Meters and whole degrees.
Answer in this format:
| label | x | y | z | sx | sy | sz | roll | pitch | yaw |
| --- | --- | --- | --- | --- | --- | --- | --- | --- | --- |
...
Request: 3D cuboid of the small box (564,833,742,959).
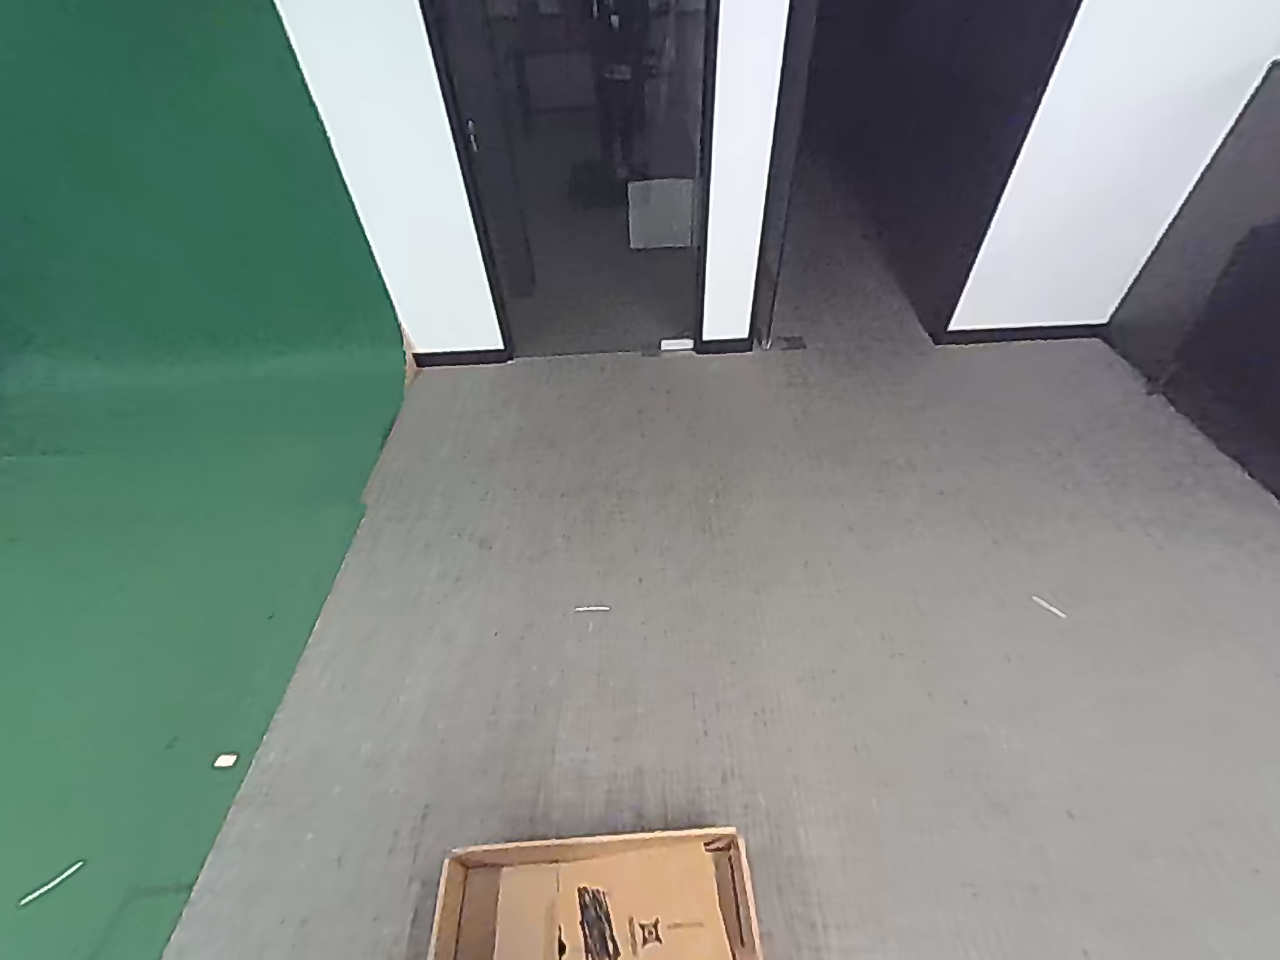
| label | x | y | z | sx | sy | sz | roll | pitch | yaw |
| --- | --- | --- | --- | --- | --- | --- | --- | --- | --- |
| small box | 0.012 | 0.536 | 0.597 | 0.179 | 0.176 | 0.168 | -5 | 25 | -7 |
